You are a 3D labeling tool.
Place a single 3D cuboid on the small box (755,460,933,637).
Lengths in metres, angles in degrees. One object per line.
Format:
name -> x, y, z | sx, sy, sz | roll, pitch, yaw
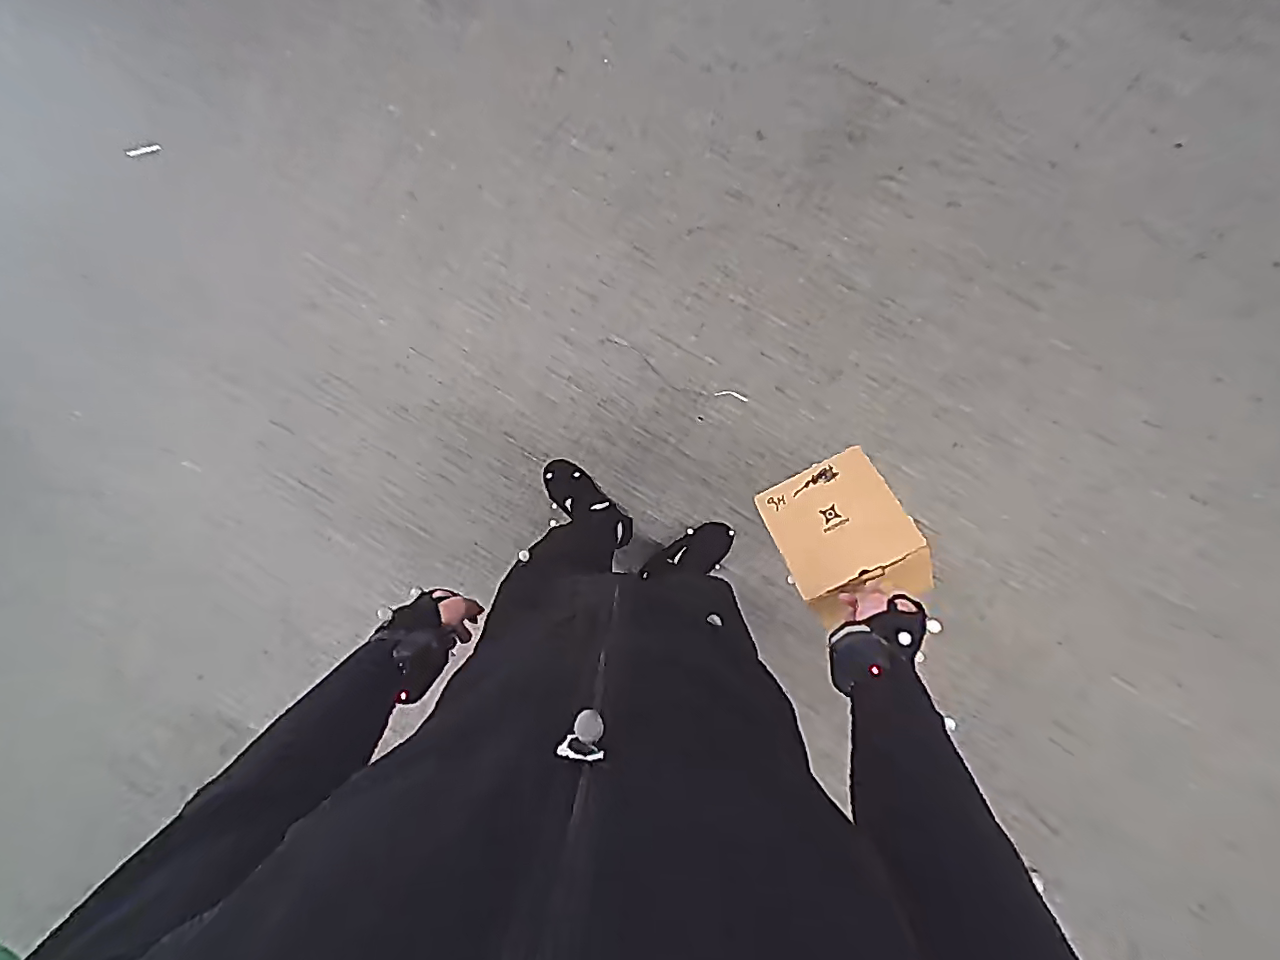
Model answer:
small box -> 0.297, 0.110, 0.784 | 0.168, 0.176, 0.179 | -32, 49, 13
